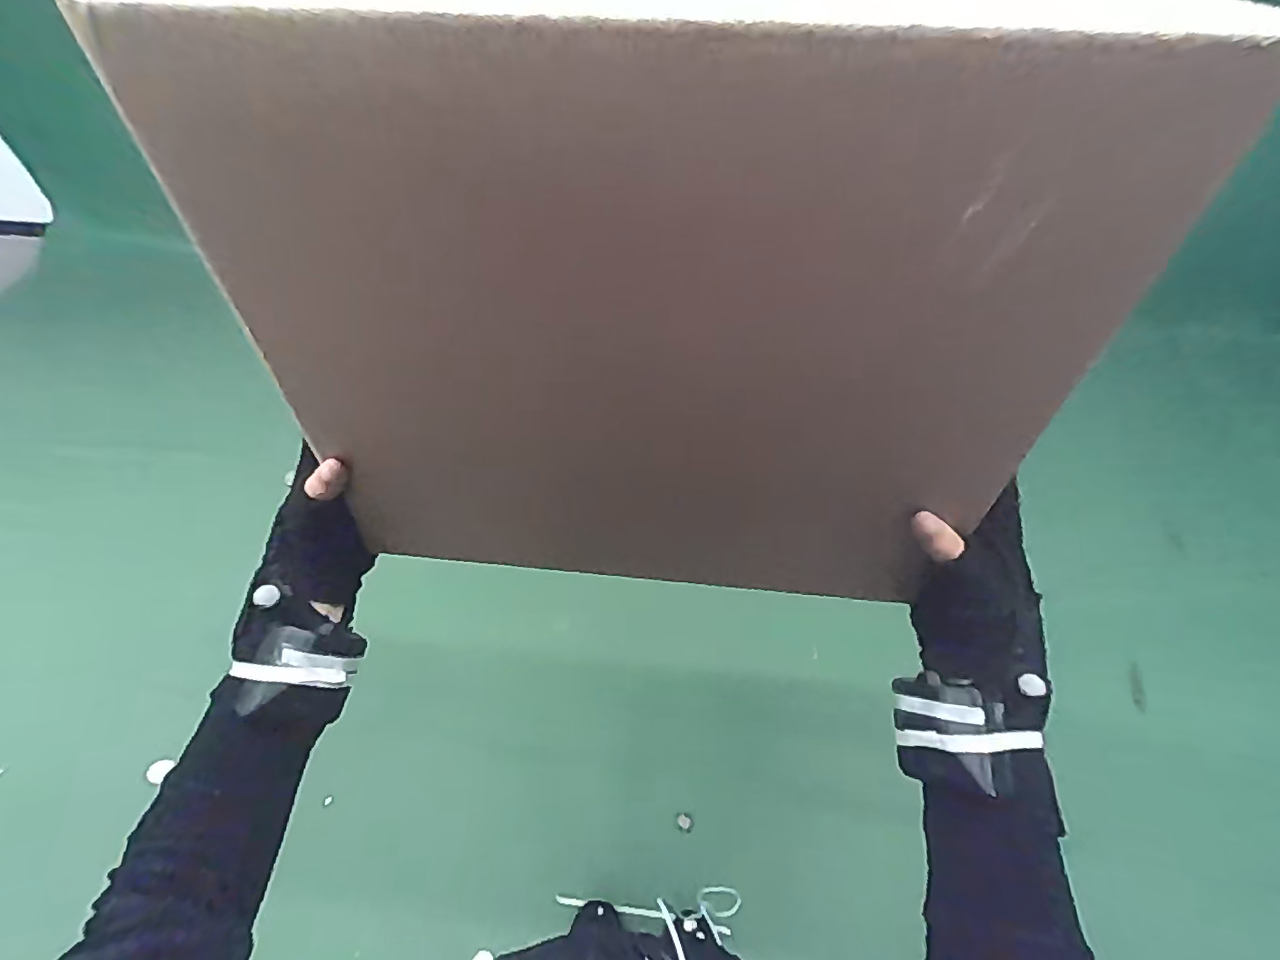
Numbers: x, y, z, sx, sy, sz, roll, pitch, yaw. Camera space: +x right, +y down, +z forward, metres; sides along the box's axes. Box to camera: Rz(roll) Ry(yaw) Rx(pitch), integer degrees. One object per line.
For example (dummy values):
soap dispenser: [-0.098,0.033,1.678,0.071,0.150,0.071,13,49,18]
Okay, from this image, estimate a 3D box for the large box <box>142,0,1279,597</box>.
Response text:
large box: [0.023,-0.139,0.395,0.408,0.320,0.320,5,45,2]
